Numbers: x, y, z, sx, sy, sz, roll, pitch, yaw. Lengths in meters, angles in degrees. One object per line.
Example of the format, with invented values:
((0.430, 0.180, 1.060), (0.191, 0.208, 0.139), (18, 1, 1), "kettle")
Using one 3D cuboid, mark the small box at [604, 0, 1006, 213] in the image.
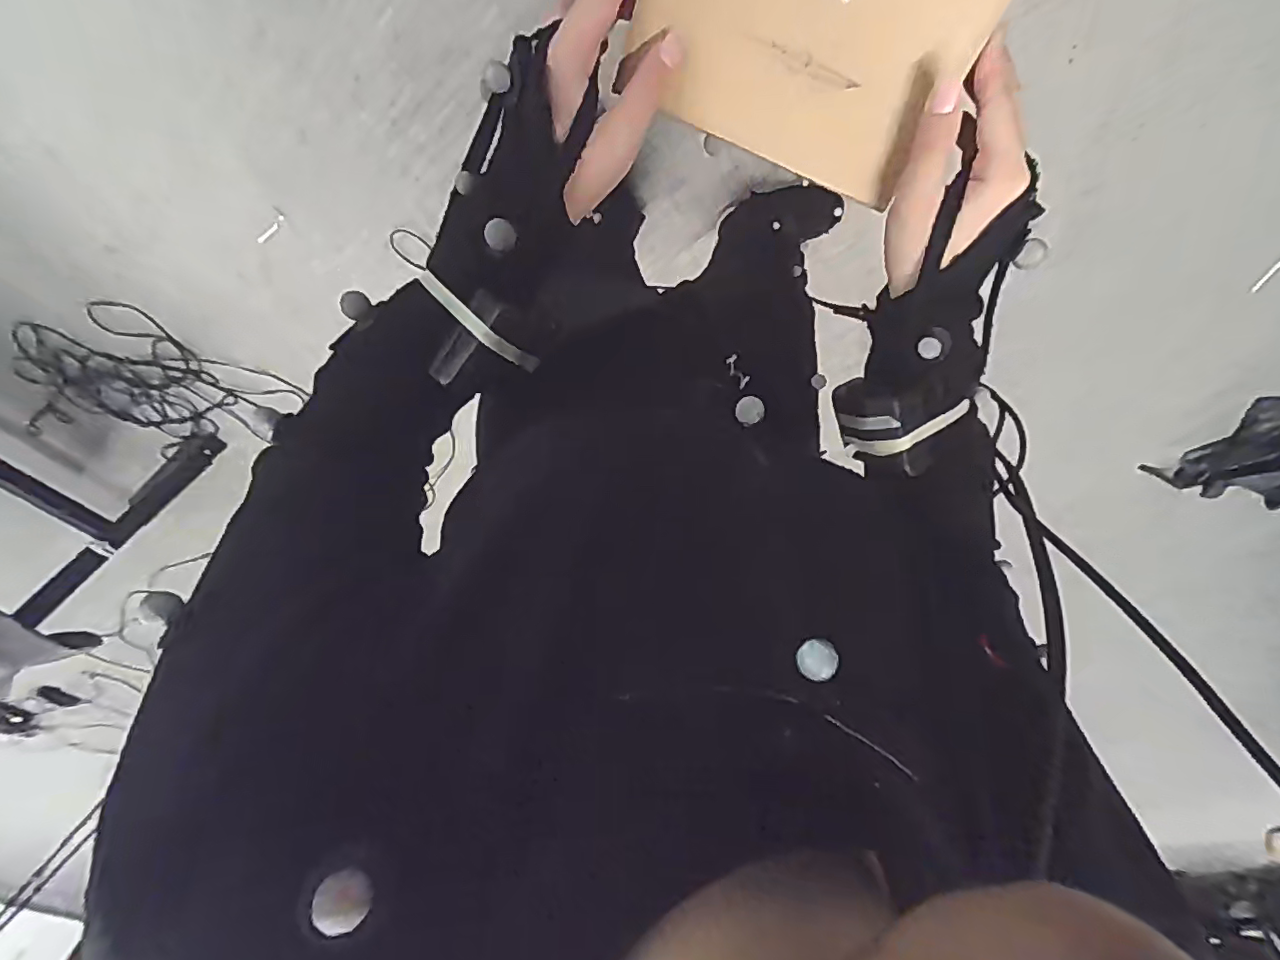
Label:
((0.090, -0.283, 0.298), (0.168, 0.176, 0.179), (19, 127, -9), "small box")
